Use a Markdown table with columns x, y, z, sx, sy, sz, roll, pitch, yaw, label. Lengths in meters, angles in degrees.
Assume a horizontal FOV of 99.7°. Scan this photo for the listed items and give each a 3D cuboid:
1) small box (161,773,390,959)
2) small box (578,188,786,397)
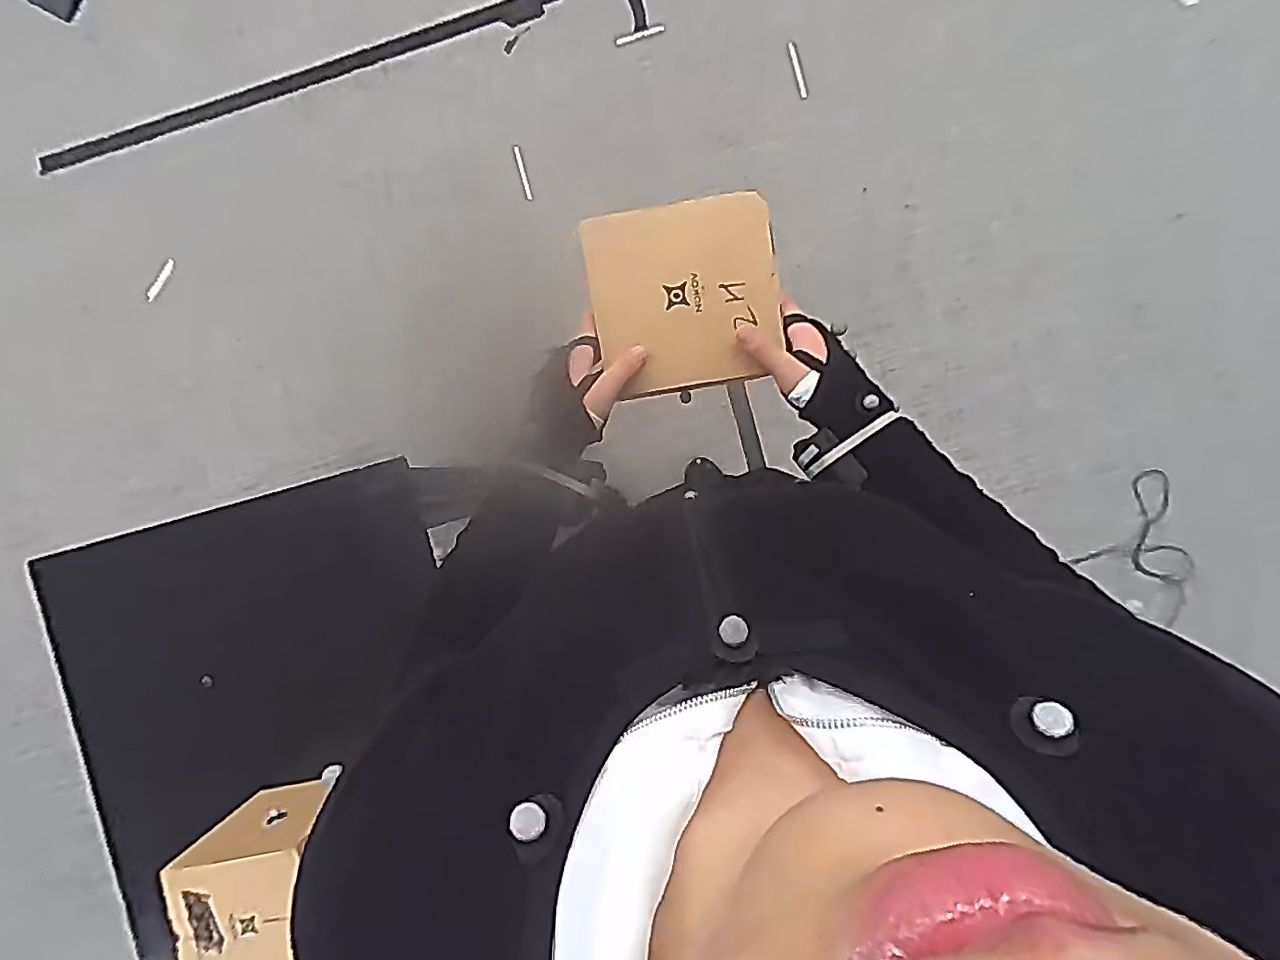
| x | y | z | sx | sy | sz | roll | pitch | yaw | label |
| --- | --- | --- | --- | --- | --- | --- | --- | --- | --- |
| -0.470 | 0.525 | 0.722 | 0.179 | 0.176 | 0.168 | -12 | 90 | 1 | small box |
| 0.042 | -0.183 | 0.580 | 0.179 | 0.176 | 0.168 | -9 | 98 | 1 | small box |
